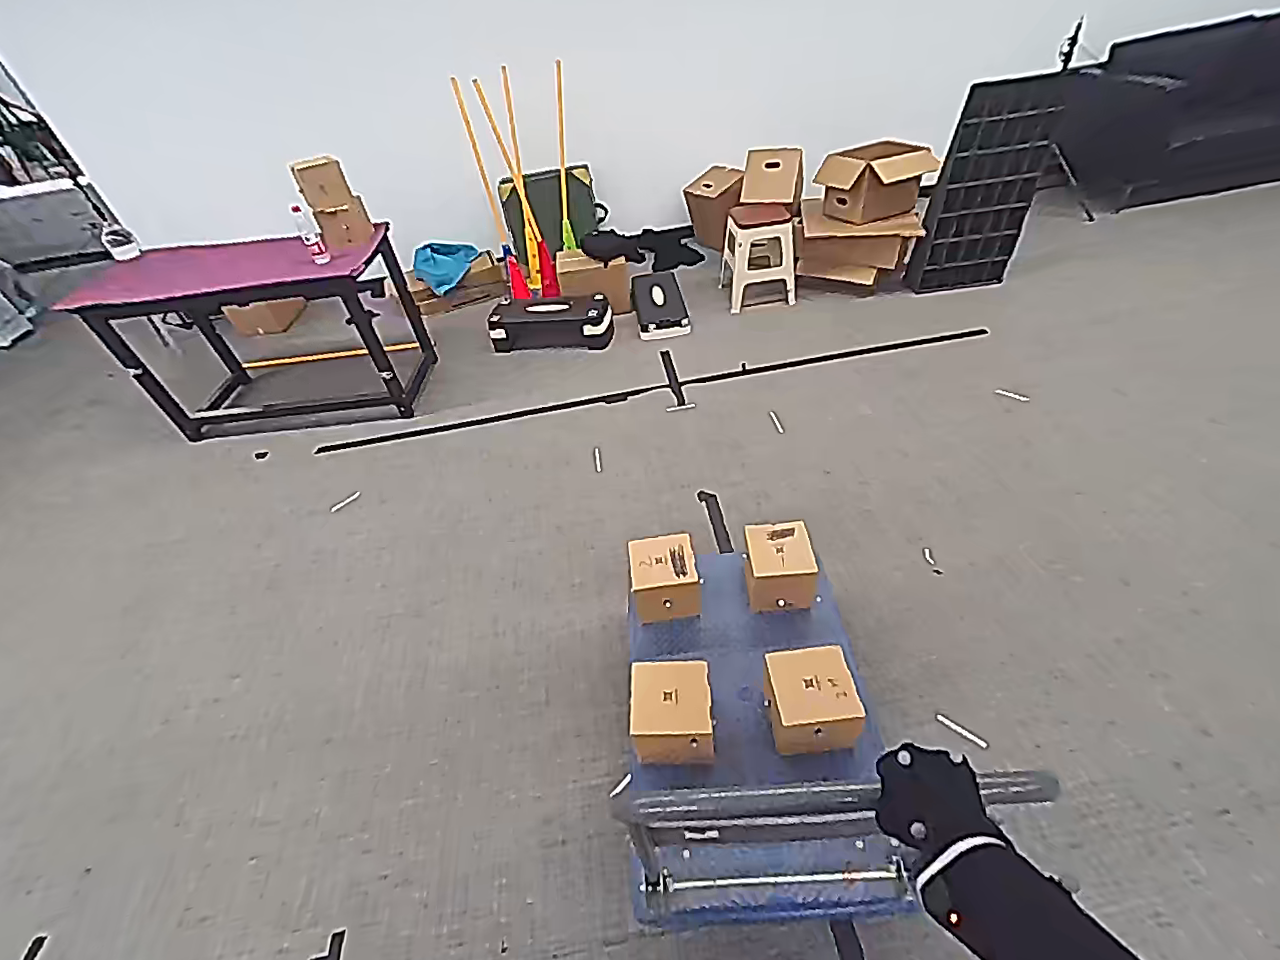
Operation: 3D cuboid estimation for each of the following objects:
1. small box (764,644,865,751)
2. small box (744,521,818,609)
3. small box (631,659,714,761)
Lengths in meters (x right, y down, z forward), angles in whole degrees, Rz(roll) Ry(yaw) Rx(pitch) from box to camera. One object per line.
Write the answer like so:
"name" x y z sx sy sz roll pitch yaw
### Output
"small box" 0.384 0.496 1.227 0.179 0.176 0.168 -7 44 1
"small box" 0.382 0.236 1.499 0.168 0.176 0.179 -5 44 4
"small box" 0.076 0.529 1.240 0.179 0.176 0.168 -3 43 4
